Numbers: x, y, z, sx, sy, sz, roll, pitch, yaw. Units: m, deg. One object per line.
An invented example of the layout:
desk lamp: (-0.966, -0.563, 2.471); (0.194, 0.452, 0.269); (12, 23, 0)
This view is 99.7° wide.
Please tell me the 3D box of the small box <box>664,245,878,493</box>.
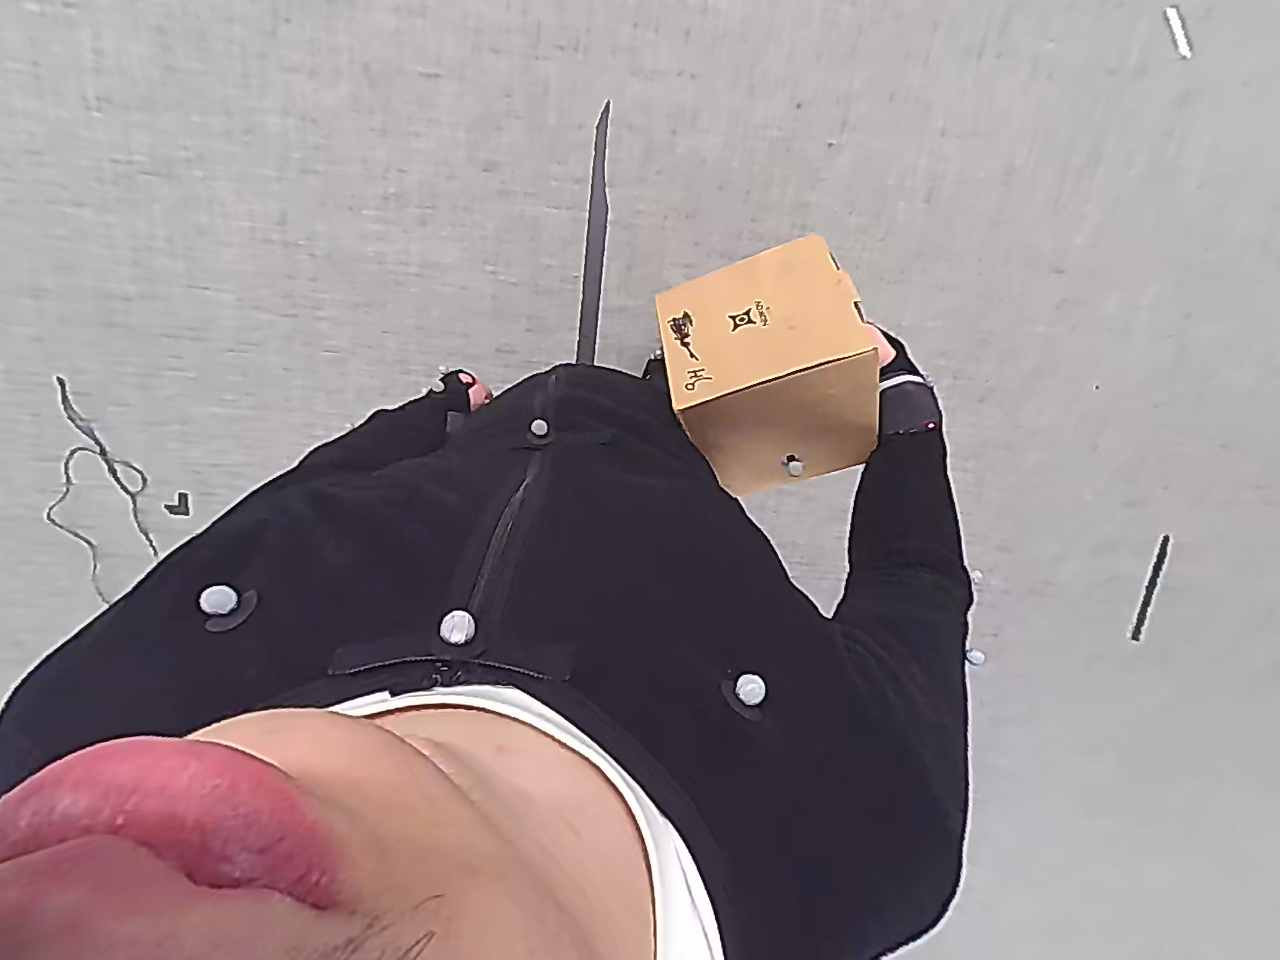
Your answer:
small box: (0.139, -0.109, 0.583); (0.179, 0.168, 0.176); (-15, 143, 13)
